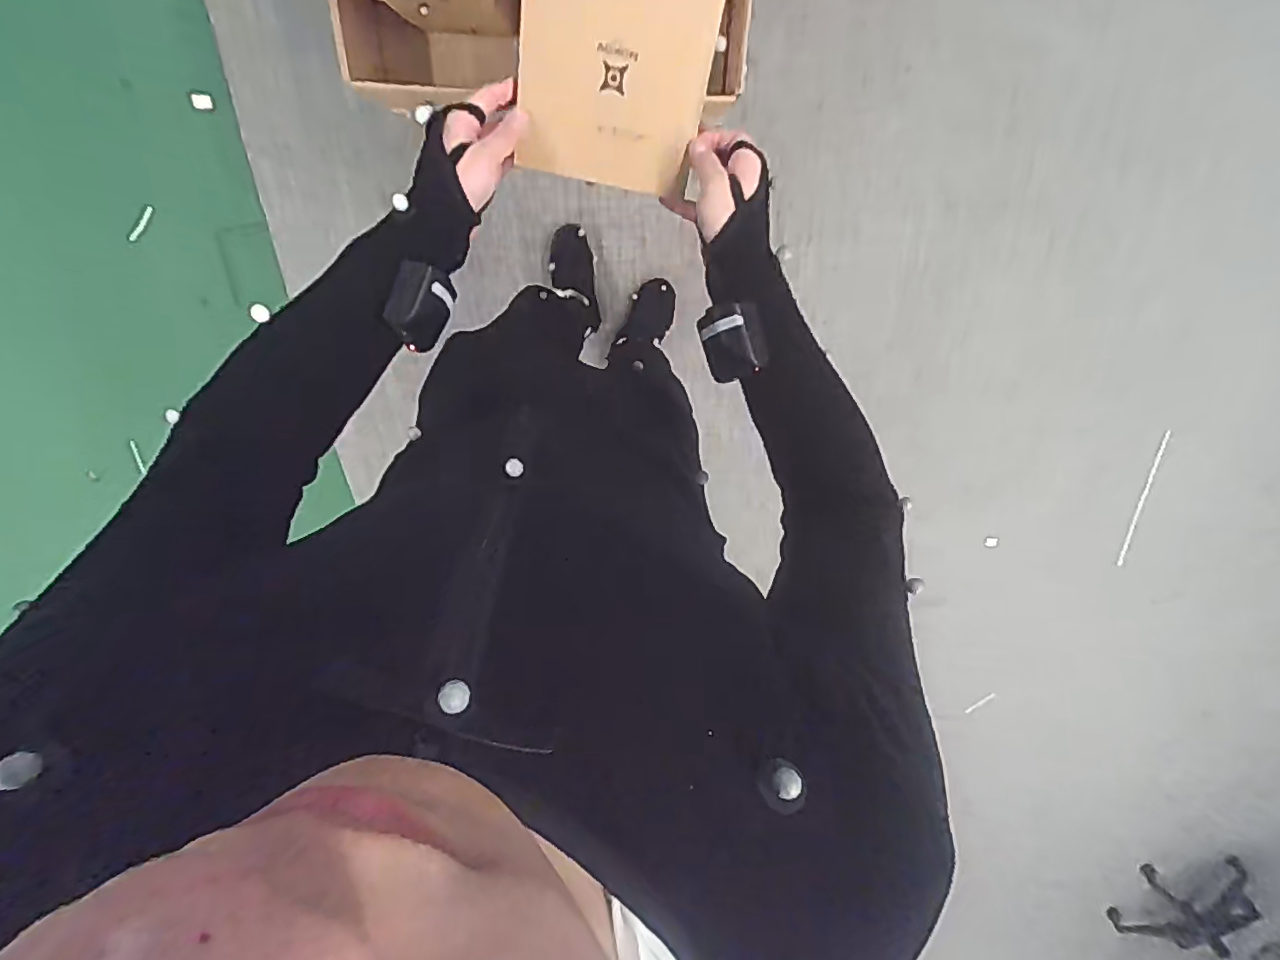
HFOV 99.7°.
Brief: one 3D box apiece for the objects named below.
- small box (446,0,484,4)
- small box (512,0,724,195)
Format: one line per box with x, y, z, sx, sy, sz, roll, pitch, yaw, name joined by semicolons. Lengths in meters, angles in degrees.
-0.287;-0.711;0.650;0.168;0.176;0.179;4;116;-1;small box
-0.023;-0.403;0.531;0.168;0.176;0.179;10;124;-6;small box
